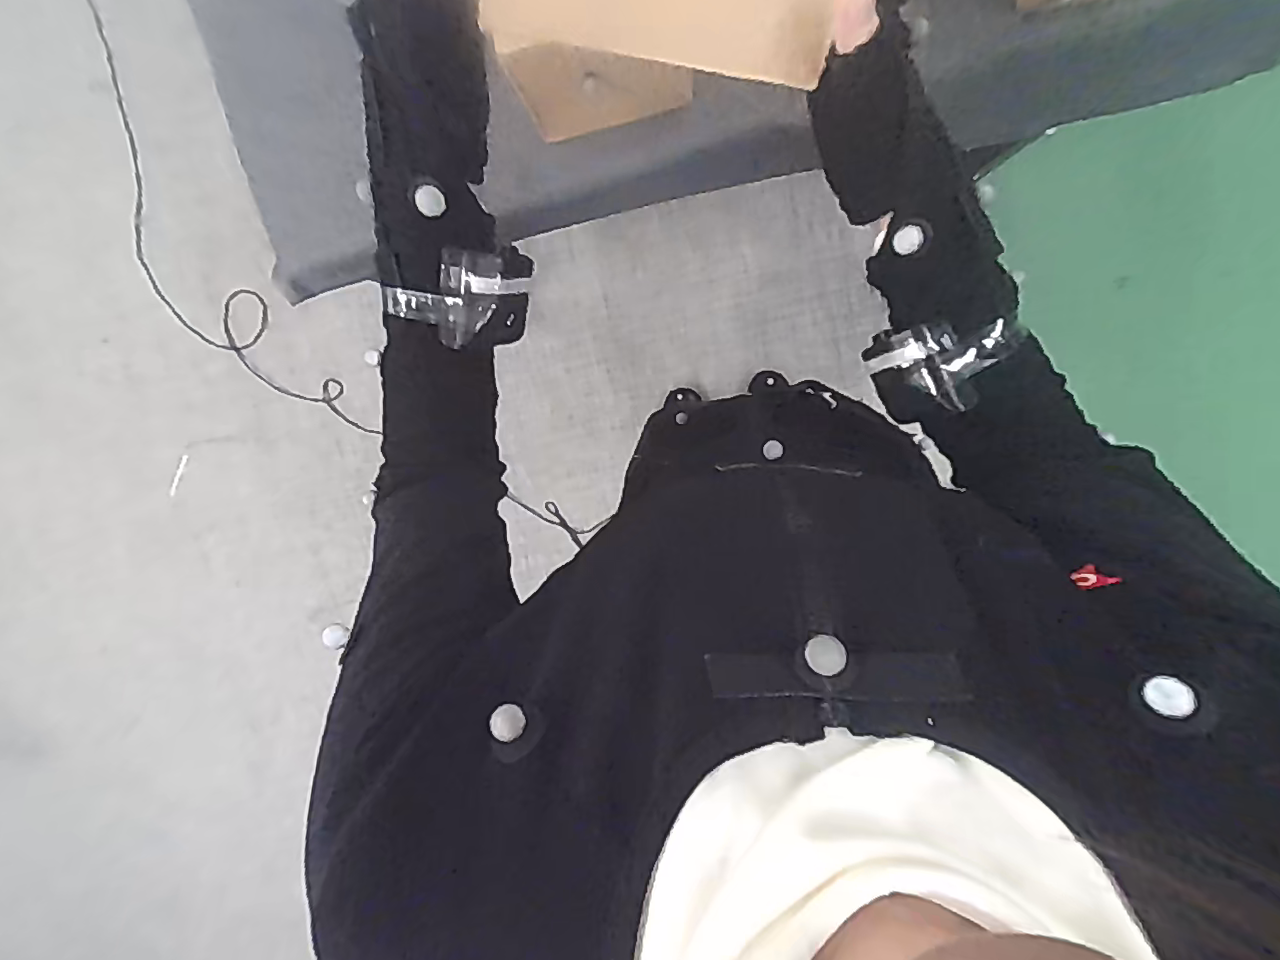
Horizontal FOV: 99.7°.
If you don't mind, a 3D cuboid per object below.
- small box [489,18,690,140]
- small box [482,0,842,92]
[{"bbox_3d":[-0.050,-0.479,0.543,0.179,0.176,0.168,-11,97,7],"label":"small box"},{"bbox_3d":[0.014,-0.320,0.256,0.168,0.176,0.179,3,136,-10],"label":"small box"}]
